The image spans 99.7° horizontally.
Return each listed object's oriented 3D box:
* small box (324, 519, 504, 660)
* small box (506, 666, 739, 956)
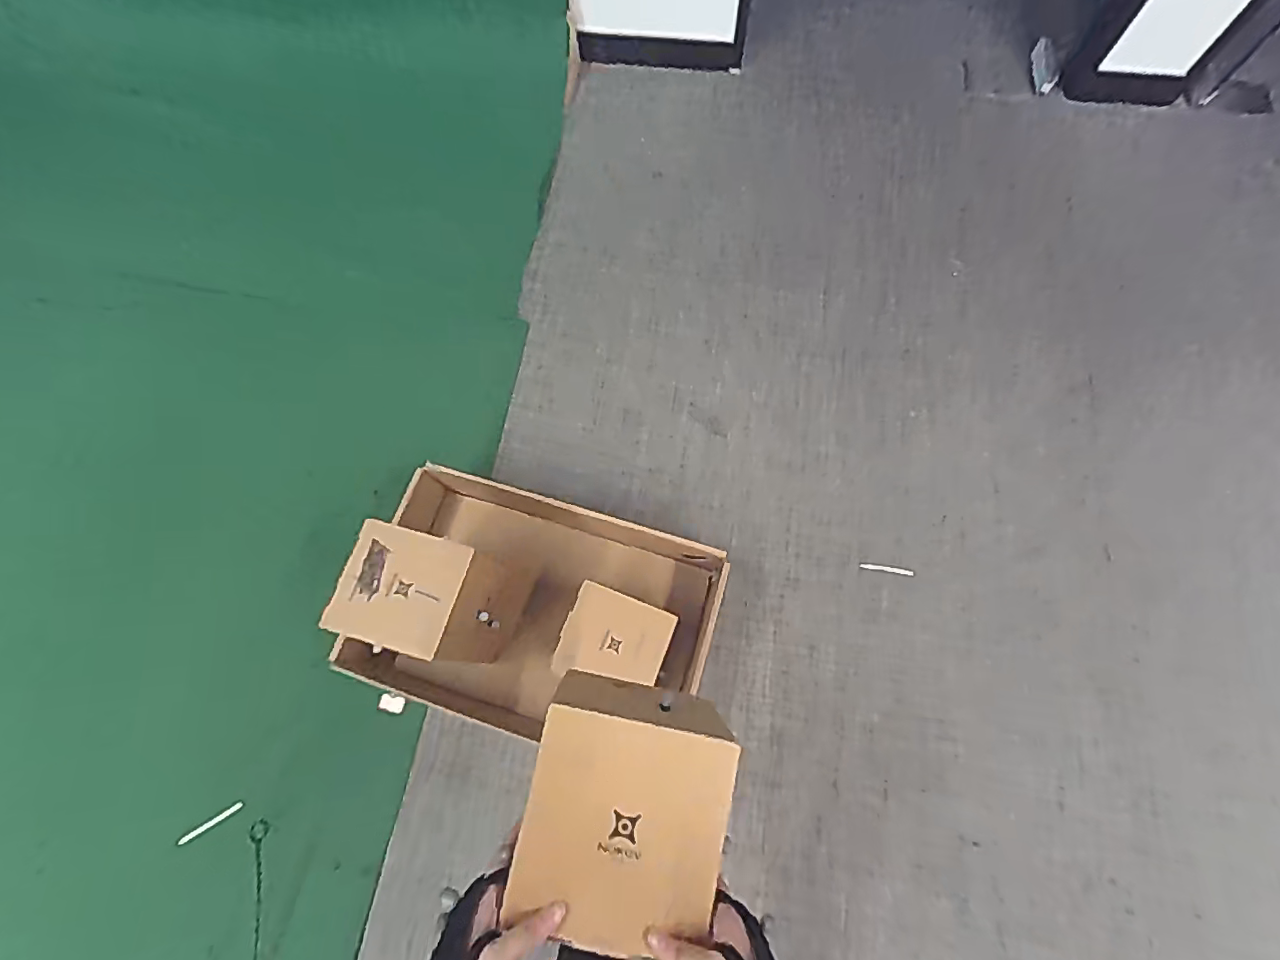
[{"bbox_3d":[-0.336,0.178,0.842,0.179,0.176,0.168,15,72,5],"label":"small box"},{"bbox_3d":[-0.016,0.295,0.527,0.168,0.176,0.179,13,82,0],"label":"small box"}]
